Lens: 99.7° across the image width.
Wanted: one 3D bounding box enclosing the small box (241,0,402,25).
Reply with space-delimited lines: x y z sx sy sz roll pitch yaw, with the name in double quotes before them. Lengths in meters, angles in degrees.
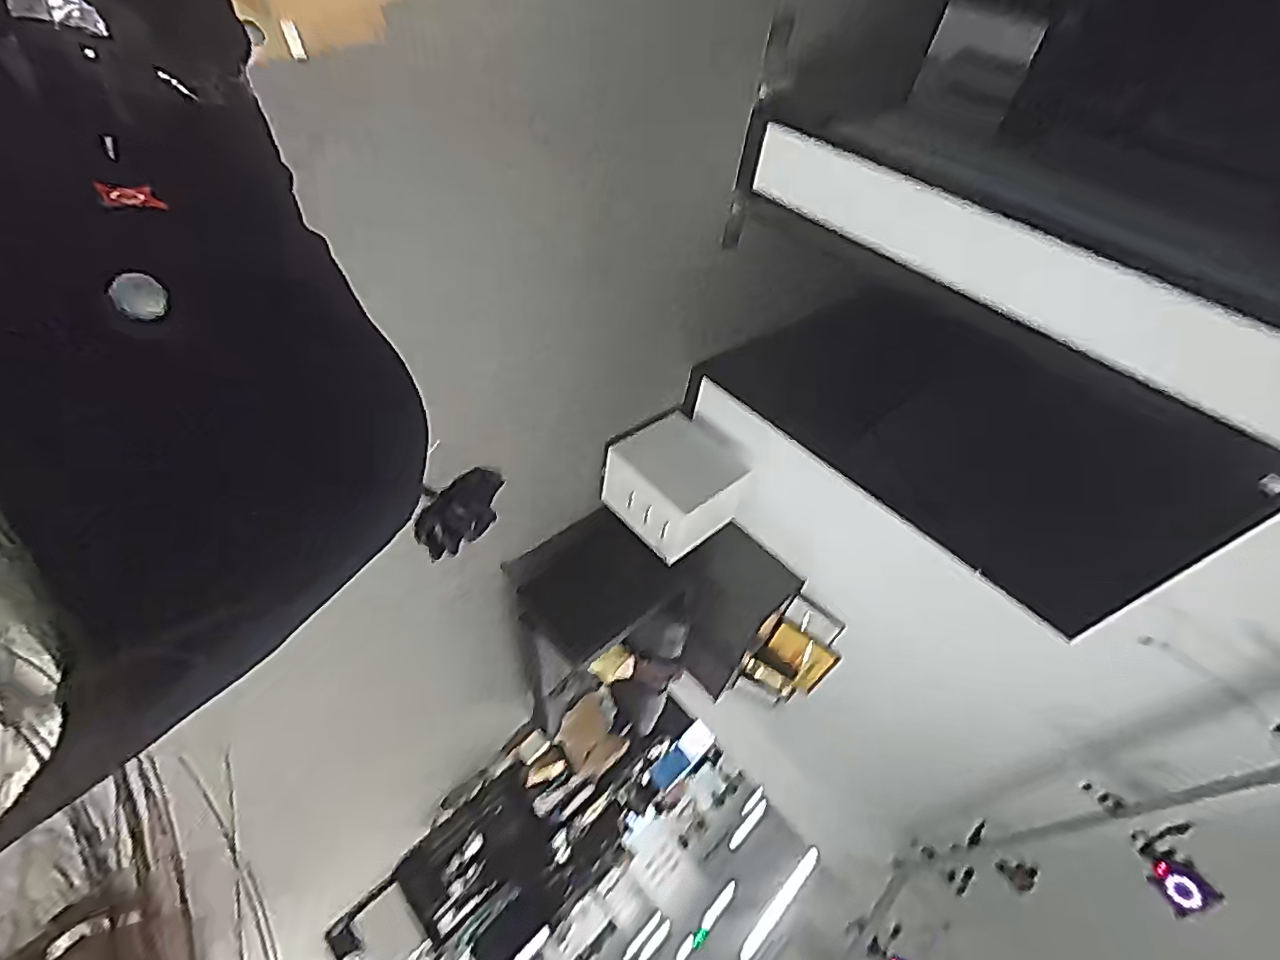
"small box" -0.376 -0.614 0.567 0.179 0.176 0.168 -36 153 -23
